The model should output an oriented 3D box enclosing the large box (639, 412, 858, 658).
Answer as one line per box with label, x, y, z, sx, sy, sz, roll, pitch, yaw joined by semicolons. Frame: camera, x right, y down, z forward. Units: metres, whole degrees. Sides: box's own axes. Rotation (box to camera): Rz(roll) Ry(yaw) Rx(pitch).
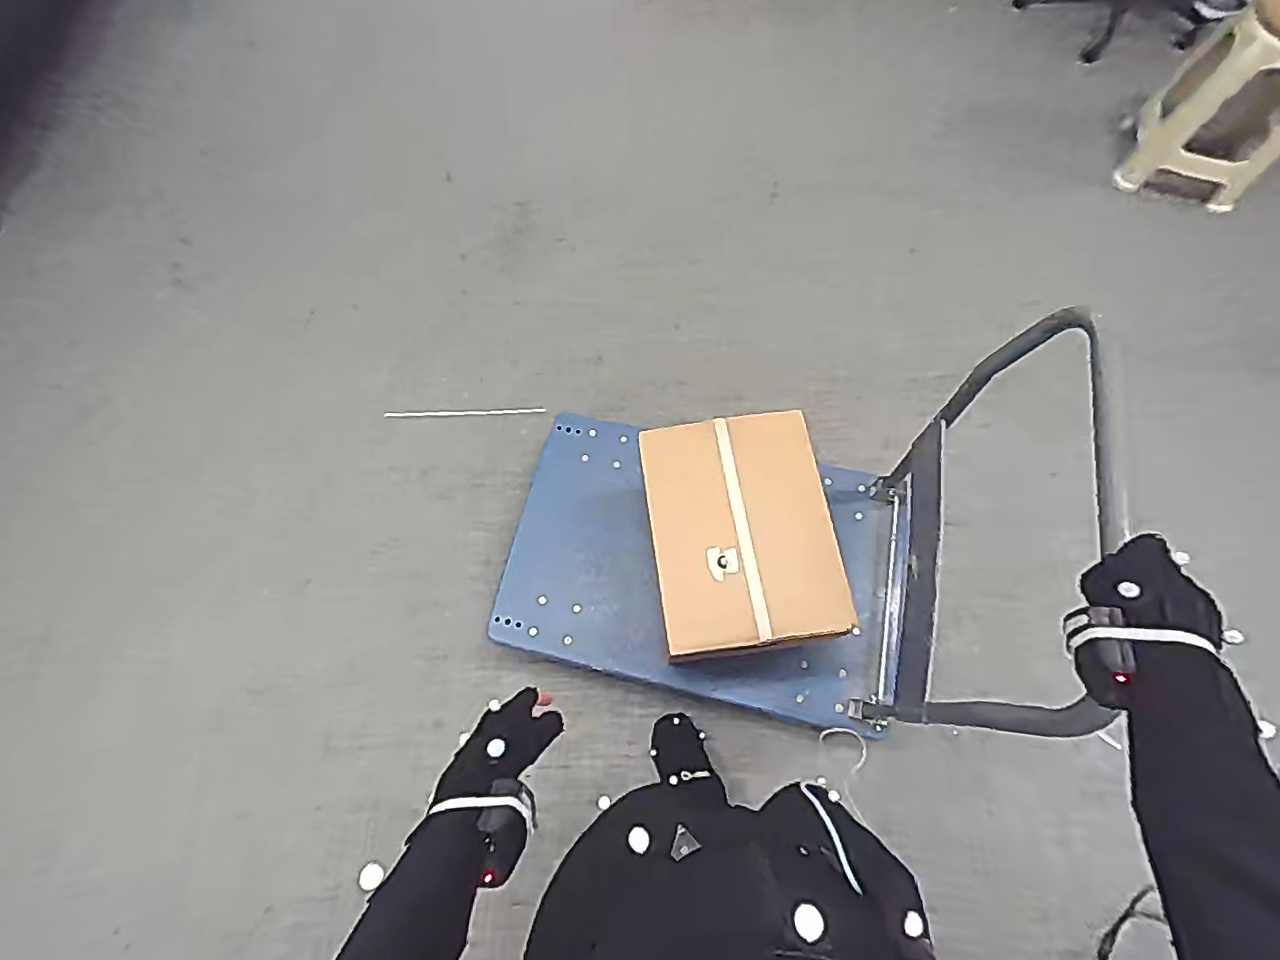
large box;0.180;0.125;1.084;0.320;0.320;0.408;-8;70;-1
